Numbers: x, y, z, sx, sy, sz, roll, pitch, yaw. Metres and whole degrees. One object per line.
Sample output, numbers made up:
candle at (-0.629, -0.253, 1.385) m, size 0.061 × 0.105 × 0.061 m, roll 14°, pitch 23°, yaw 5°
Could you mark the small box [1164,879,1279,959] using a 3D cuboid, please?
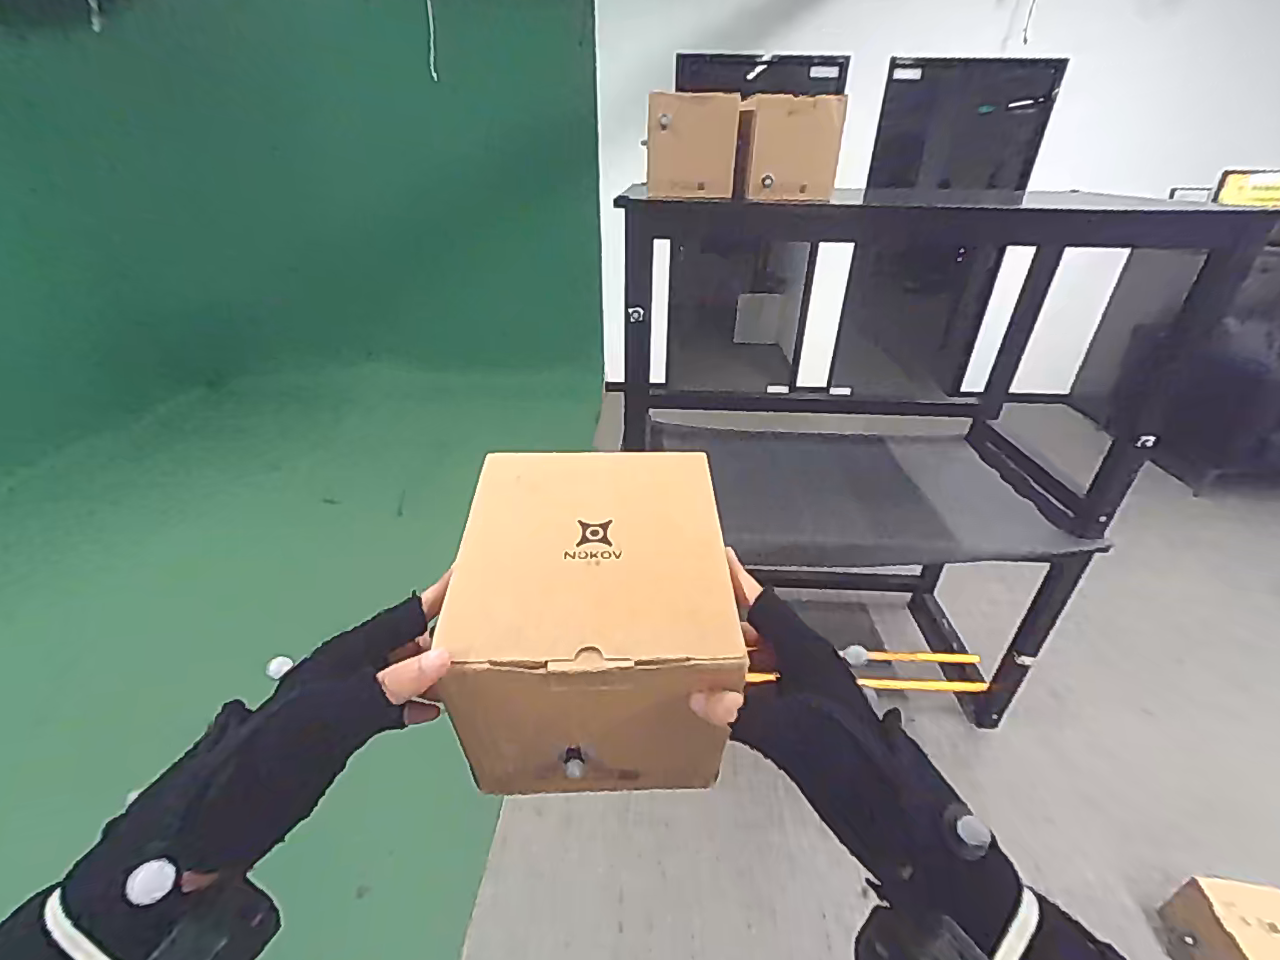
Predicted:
small box at (1.310, 1.006, 1.165) m, size 0.179 × 0.176 × 0.168 m, roll 4°, pitch 30°, yaw 7°
